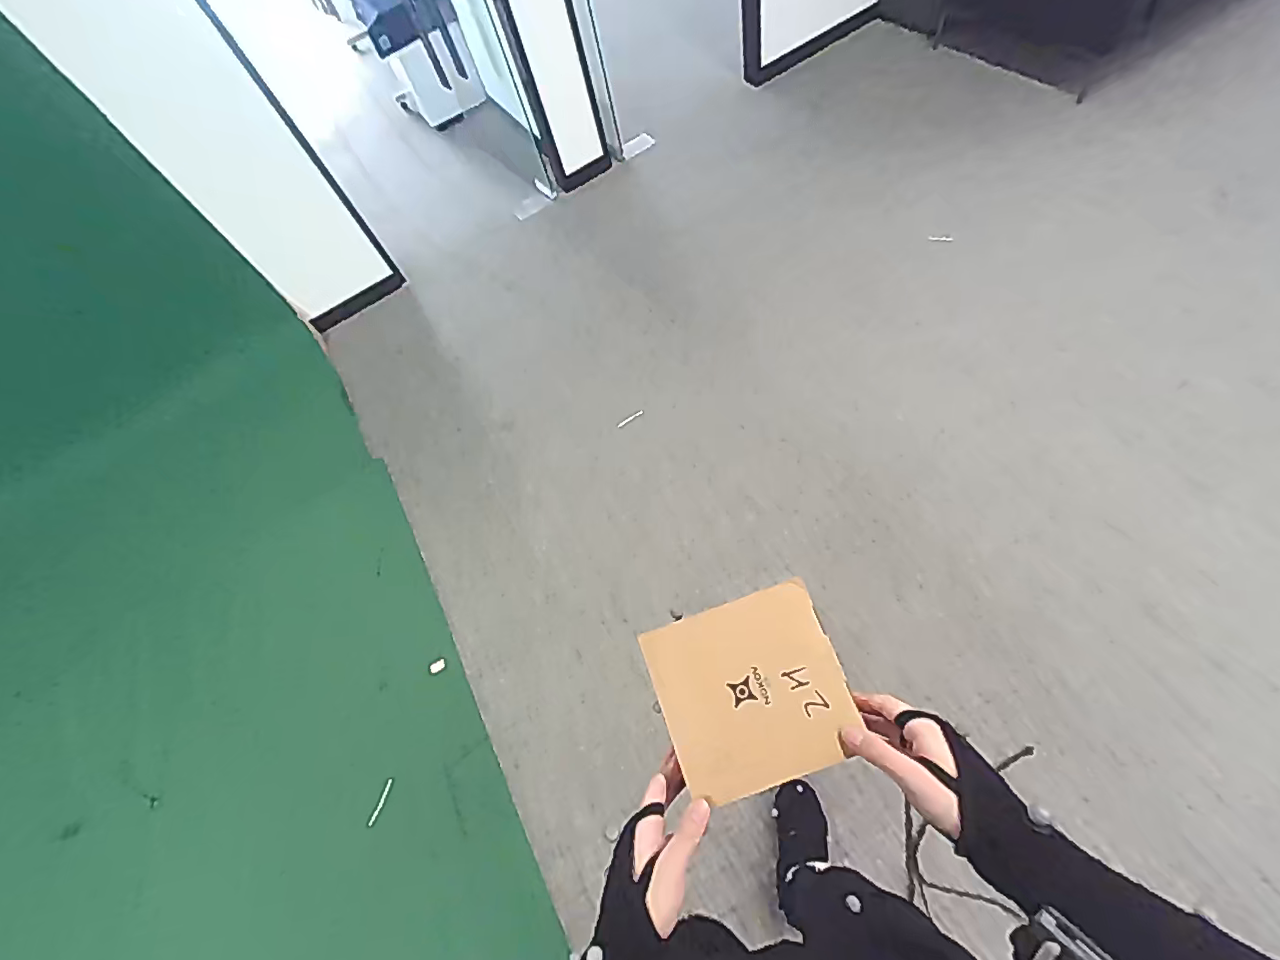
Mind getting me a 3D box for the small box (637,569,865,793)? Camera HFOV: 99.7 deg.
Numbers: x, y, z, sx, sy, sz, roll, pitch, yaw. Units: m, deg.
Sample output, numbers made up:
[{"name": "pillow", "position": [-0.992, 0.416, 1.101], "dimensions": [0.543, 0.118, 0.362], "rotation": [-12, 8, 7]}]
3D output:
[{"name": "small box", "position": [0.110, 0.212, 0.596], "dimensions": [0.179, 0.176, 0.168], "rotation": [-20, 73, -1]}]
